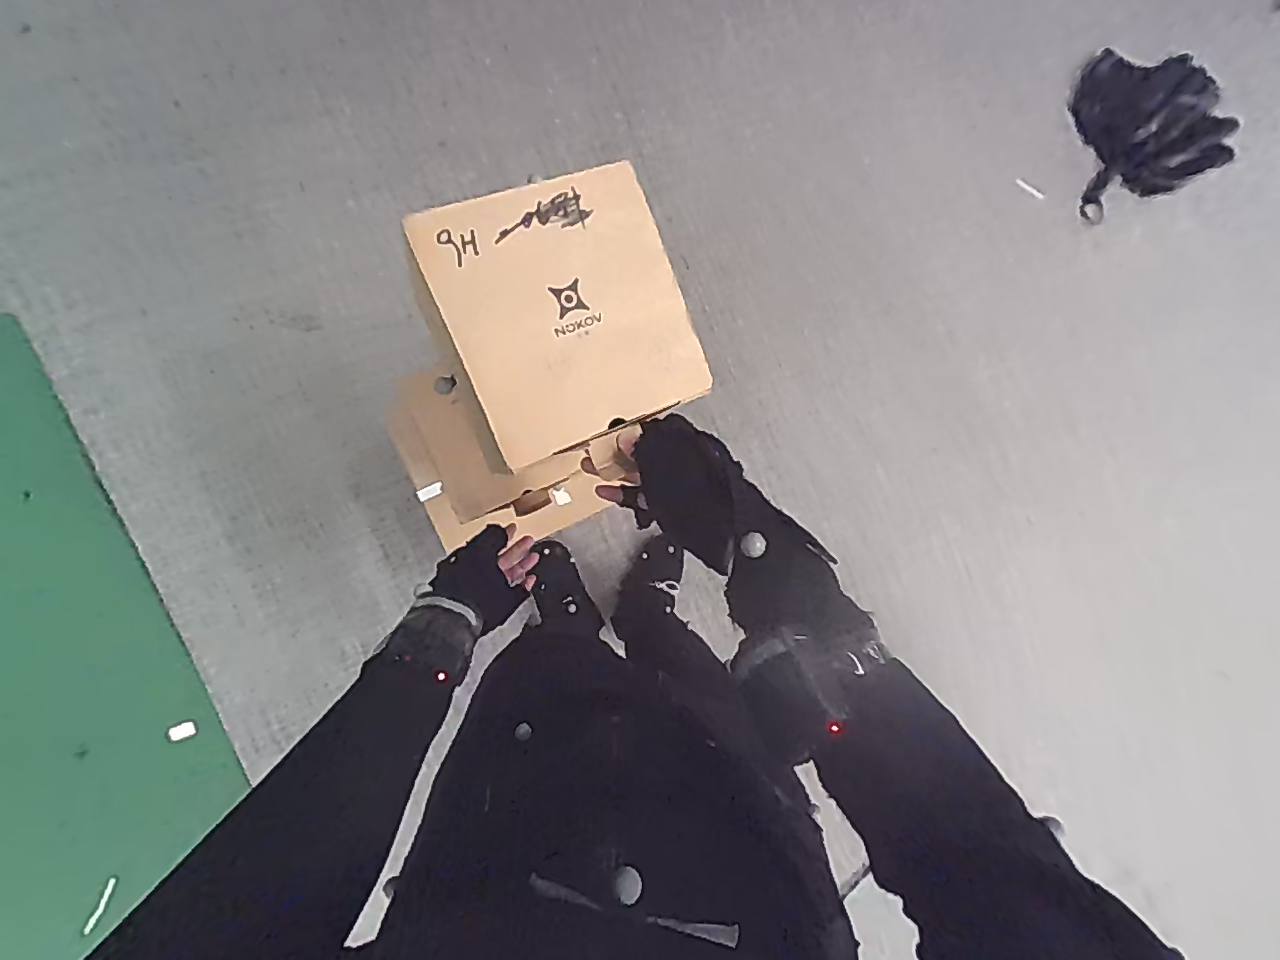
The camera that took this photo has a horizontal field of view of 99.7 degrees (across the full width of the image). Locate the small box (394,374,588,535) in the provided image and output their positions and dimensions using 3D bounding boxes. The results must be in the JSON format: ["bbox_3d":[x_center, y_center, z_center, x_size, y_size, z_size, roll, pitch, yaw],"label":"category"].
[{"bbox_3d":[-0.179,-0.053,0.693,0.168,0.176,0.179,-25,98,-9],"label":"small box"}]

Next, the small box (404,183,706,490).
[{"bbox_3d":[-0.074,-0.107,0.453,0.168,0.176,0.179,-24,100,-16],"label":"small box"}]
